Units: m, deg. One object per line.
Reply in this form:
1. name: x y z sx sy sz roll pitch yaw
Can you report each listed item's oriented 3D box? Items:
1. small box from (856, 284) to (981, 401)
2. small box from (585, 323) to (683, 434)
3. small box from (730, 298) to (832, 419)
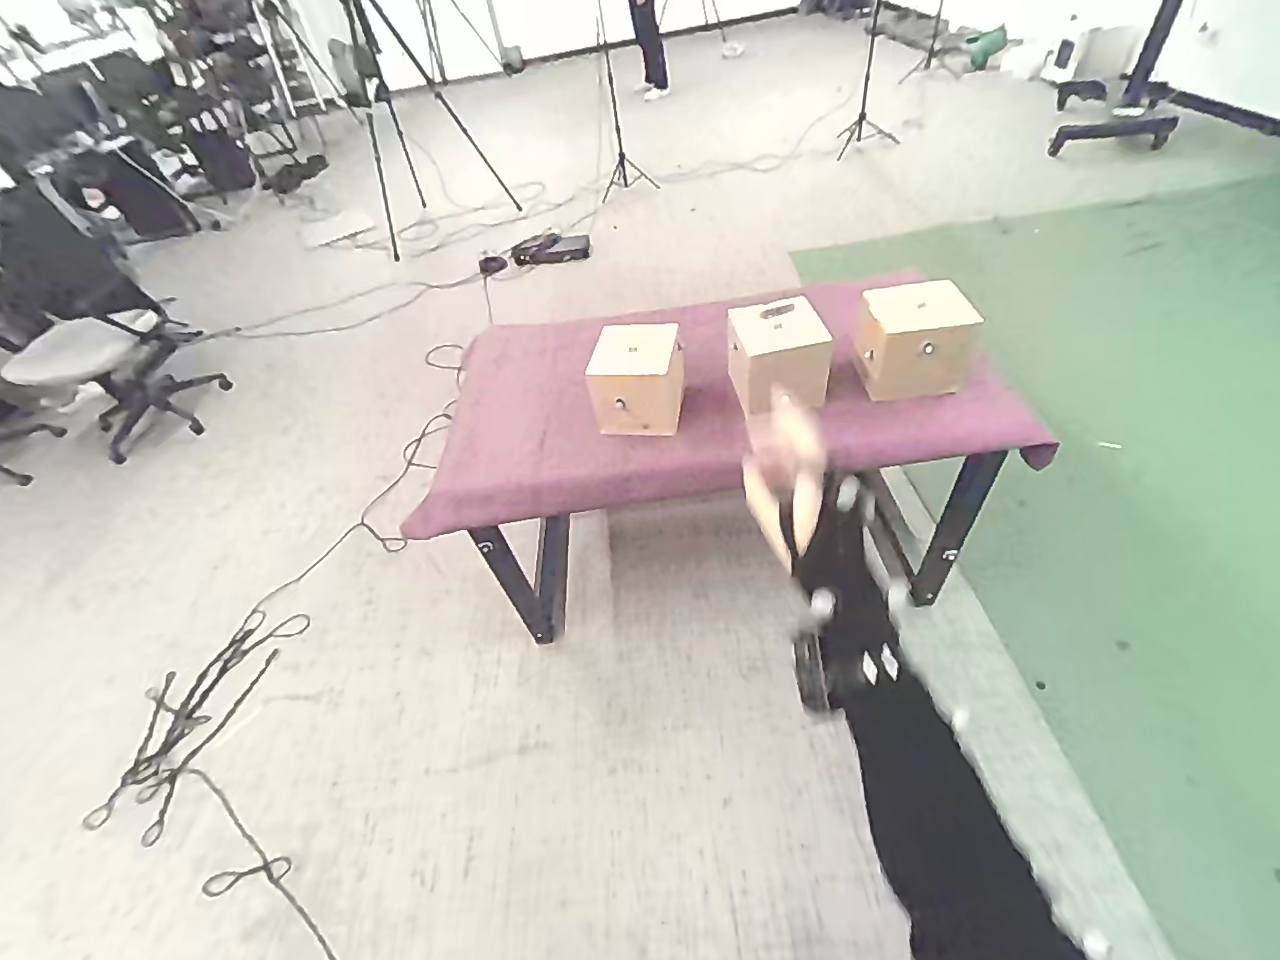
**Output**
1. small box: 0.553 -0.277 1.109 0.179 0.176 0.168 -5 46 6
2. small box: -0.003 -0.213 1.152 0.168 0.176 0.179 3 47 13
3. small box: 0.285 -0.254 1.137 0.168 0.176 0.179 -10 47 1
